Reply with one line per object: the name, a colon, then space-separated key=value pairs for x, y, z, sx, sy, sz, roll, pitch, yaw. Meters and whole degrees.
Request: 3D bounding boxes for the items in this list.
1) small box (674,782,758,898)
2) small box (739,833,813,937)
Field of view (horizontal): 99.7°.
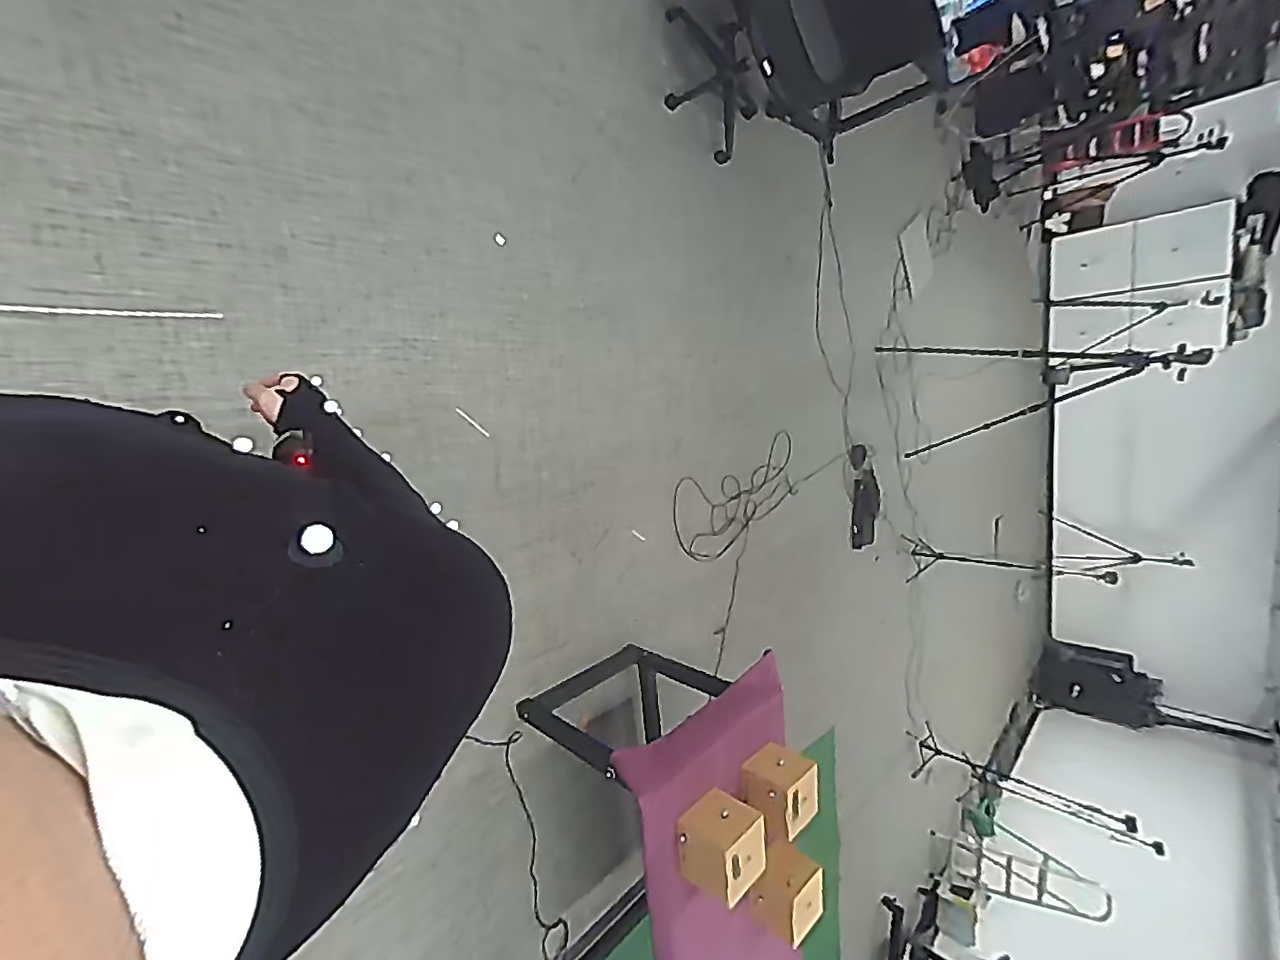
small box: x=0.204 y=0.976 z=1.485 sx=0.179 sy=0.176 sz=0.168 roll=-12 pitch=101 yaw=-45
small box: x=0.440 y=1.293 z=1.744 sx=0.179 sy=0.176 sz=0.168 roll=-9 pitch=99 yaw=-43
